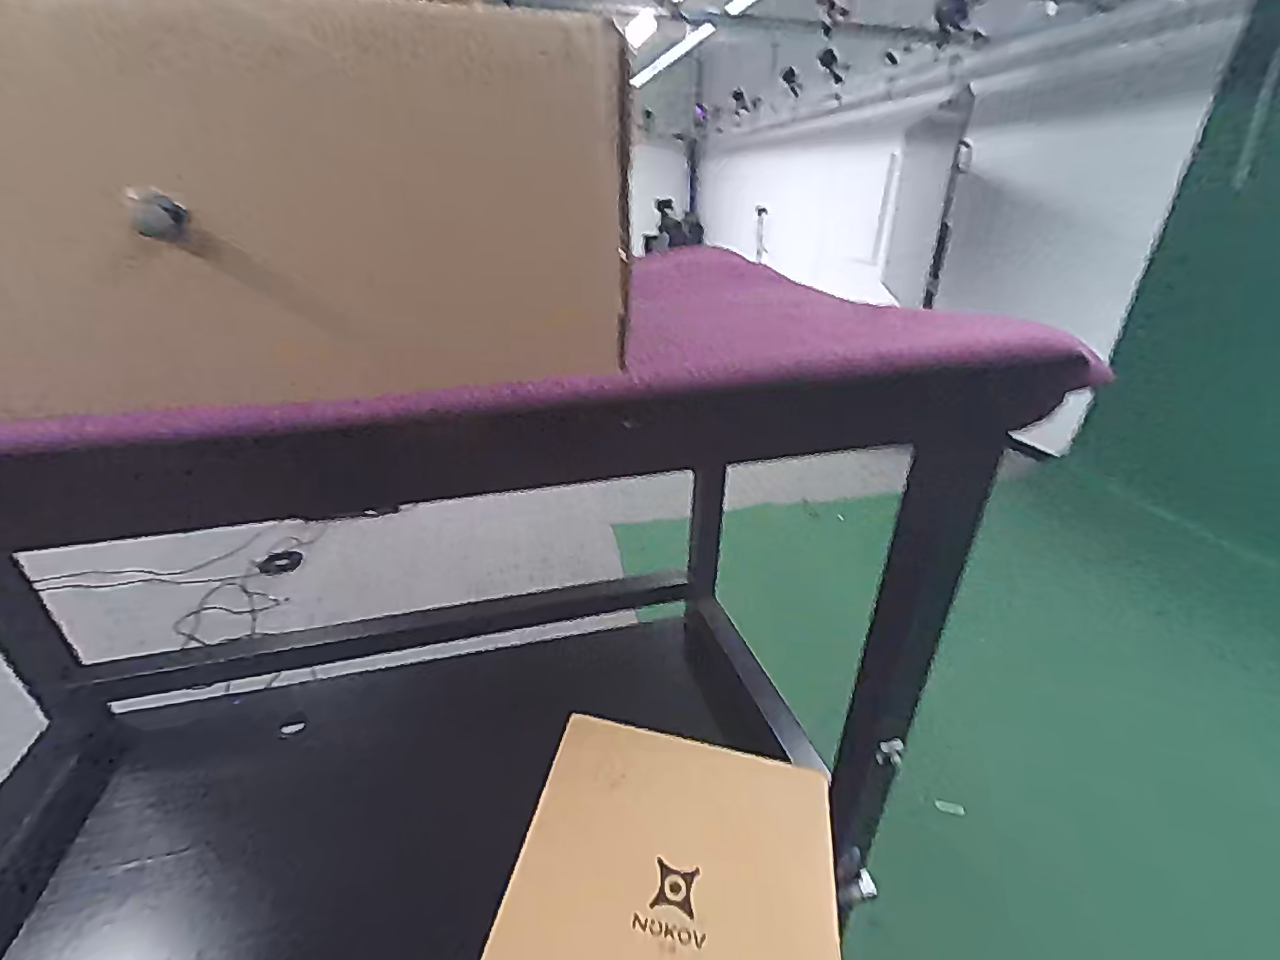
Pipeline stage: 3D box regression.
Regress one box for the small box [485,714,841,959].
[{"bbox_3d":[0.012,0.280,0.317,0.168,0.176,0.179,10,33,9],"label":"small box"}]
